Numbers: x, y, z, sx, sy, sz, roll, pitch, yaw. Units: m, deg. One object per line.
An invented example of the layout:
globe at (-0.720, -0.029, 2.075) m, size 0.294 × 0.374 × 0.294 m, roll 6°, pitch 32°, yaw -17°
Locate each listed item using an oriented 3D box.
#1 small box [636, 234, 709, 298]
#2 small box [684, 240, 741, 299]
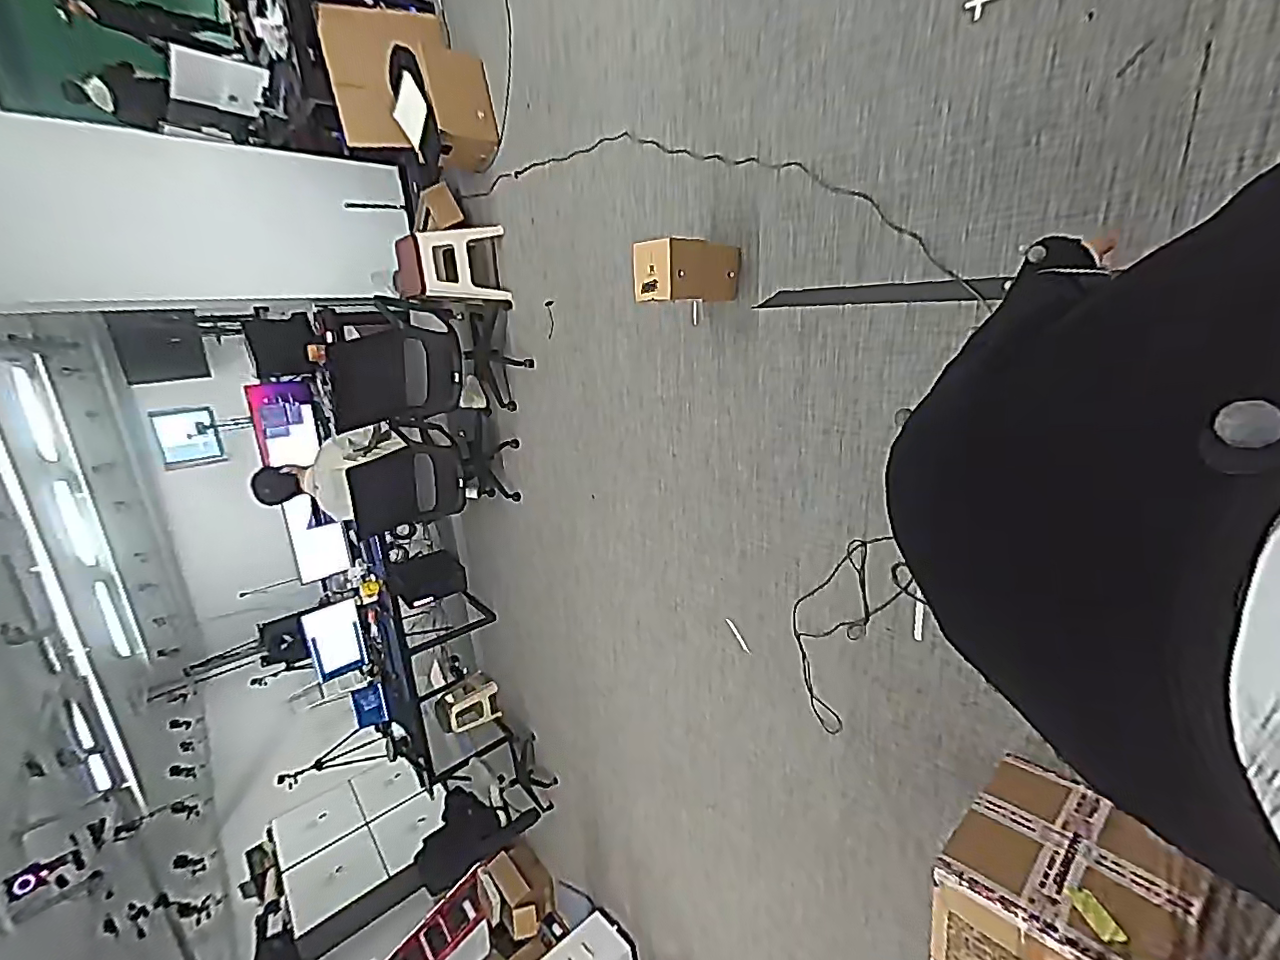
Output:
small box at (0.106, -0.673, 1.710) m, size 0.168 × 0.176 × 0.179 m, roll 18°, pitch 116°, yaw 46°
small box at (0.221, -0.709, 1.825) m, size 0.168 × 0.176 × 0.179 m, roll 25°, pitch 121°, yaw 44°
